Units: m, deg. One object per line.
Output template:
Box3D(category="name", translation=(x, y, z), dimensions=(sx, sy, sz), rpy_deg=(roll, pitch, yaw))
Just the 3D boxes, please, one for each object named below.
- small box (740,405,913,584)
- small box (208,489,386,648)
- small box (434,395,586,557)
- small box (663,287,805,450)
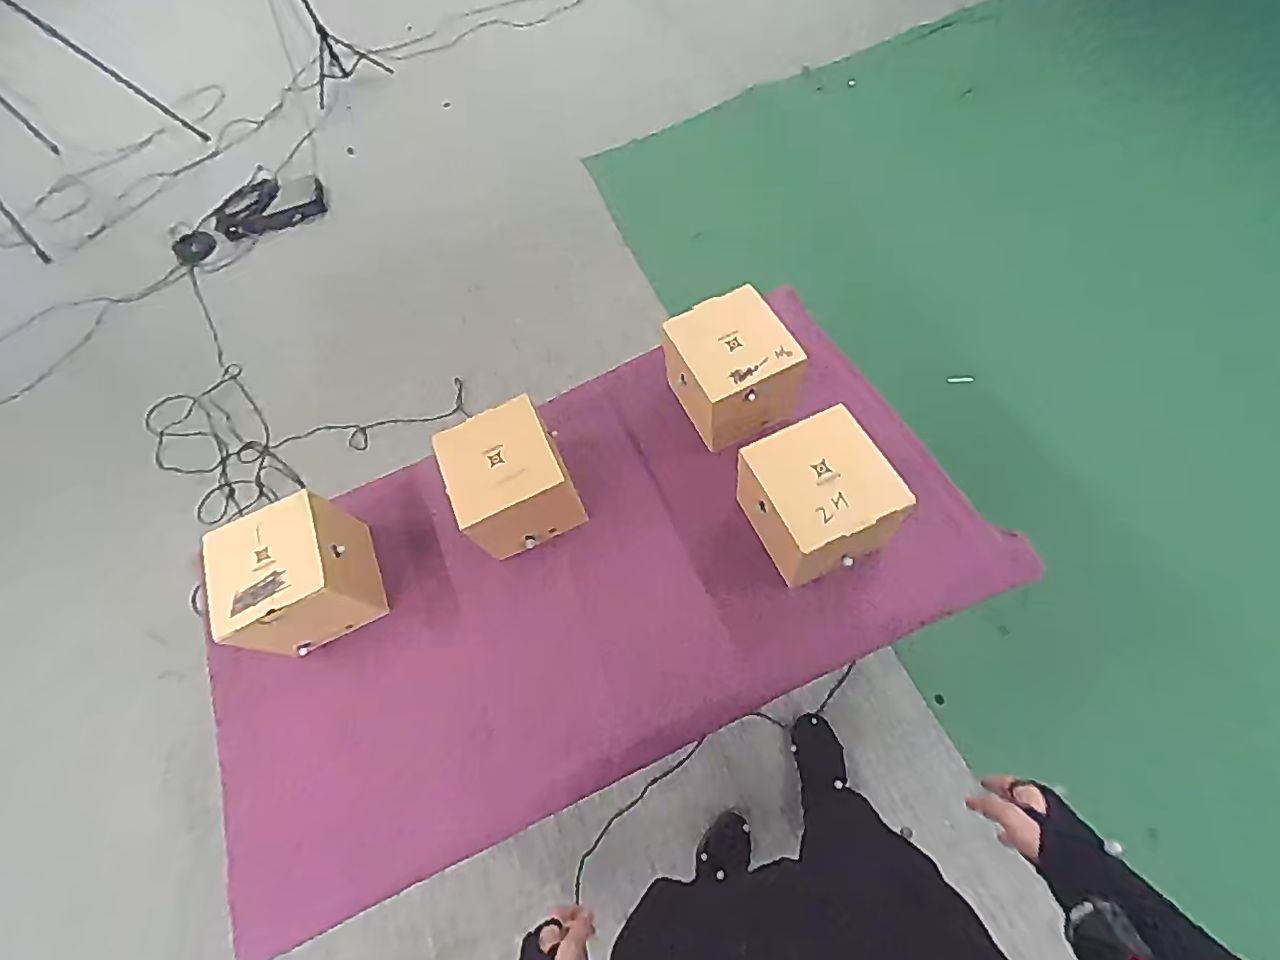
Box3D(category="small box", translation=(0.256, 0.027, 0.796), dimensions=(0.168, 0.176, 0.179), rpy_deg=(-24, 62, -3))
Box3D(category="small box", translation=(-0.530, 0.149, 0.853), dimensions=(0.168, 0.176, 0.179), rpy_deg=(-26, 63, -5))
Box3D(category="small box", translation=(-0.205, 0.000, 0.881), dimensions=(0.168, 0.176, 0.179), rpy_deg=(-25, 64, -3))
Box3D(category="small box", translation=(0.152, -0.182, 0.915), dimensions=(0.168, 0.176, 0.179), rpy_deg=(-26, 64, -4))
